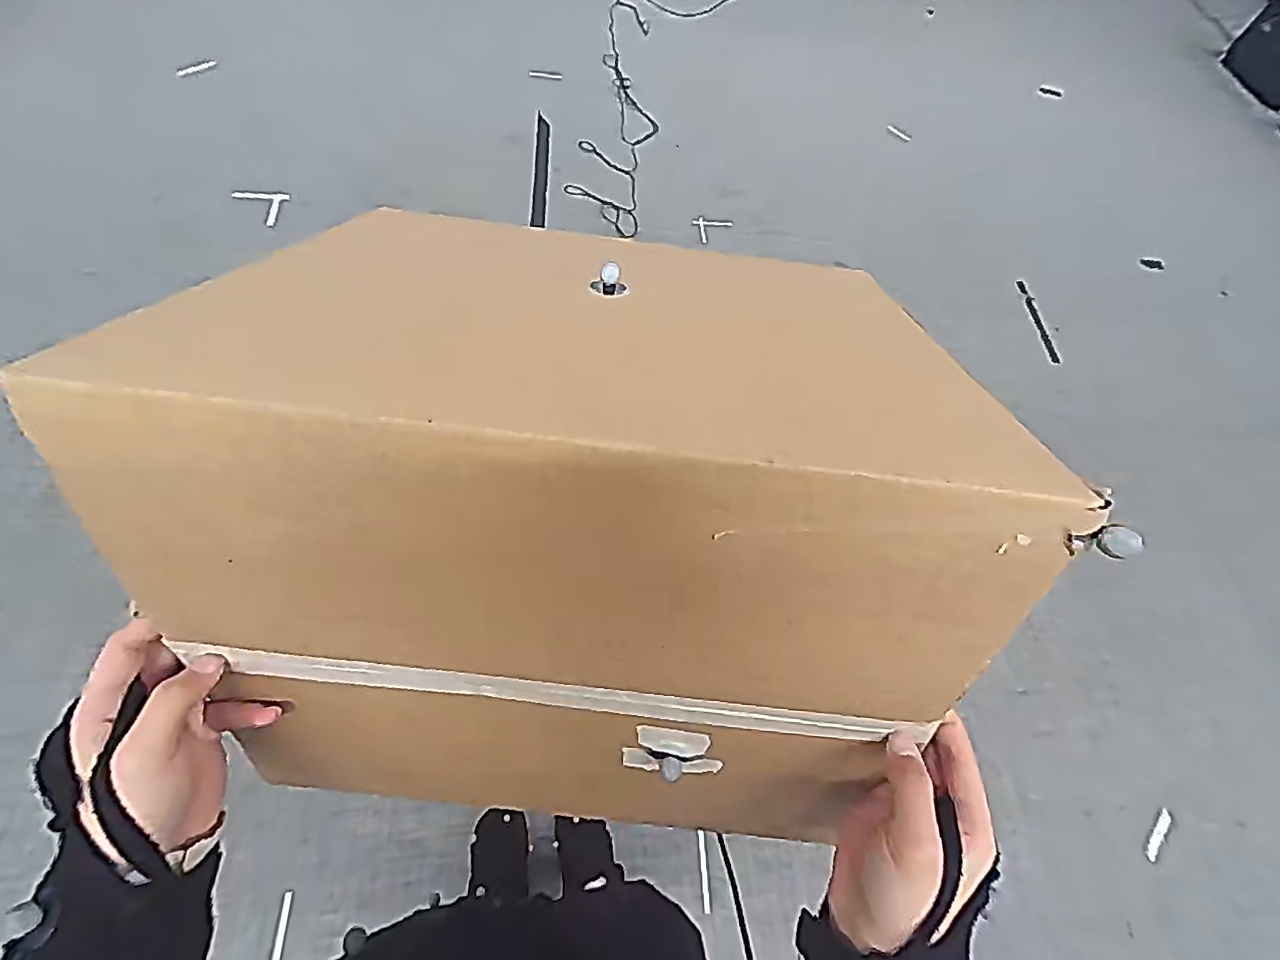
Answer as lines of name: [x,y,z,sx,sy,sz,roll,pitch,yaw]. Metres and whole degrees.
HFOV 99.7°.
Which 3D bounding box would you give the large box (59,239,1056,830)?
large box: [-0.039,0.023,0.418,0.408,0.320,0.320,6,37,-1]
